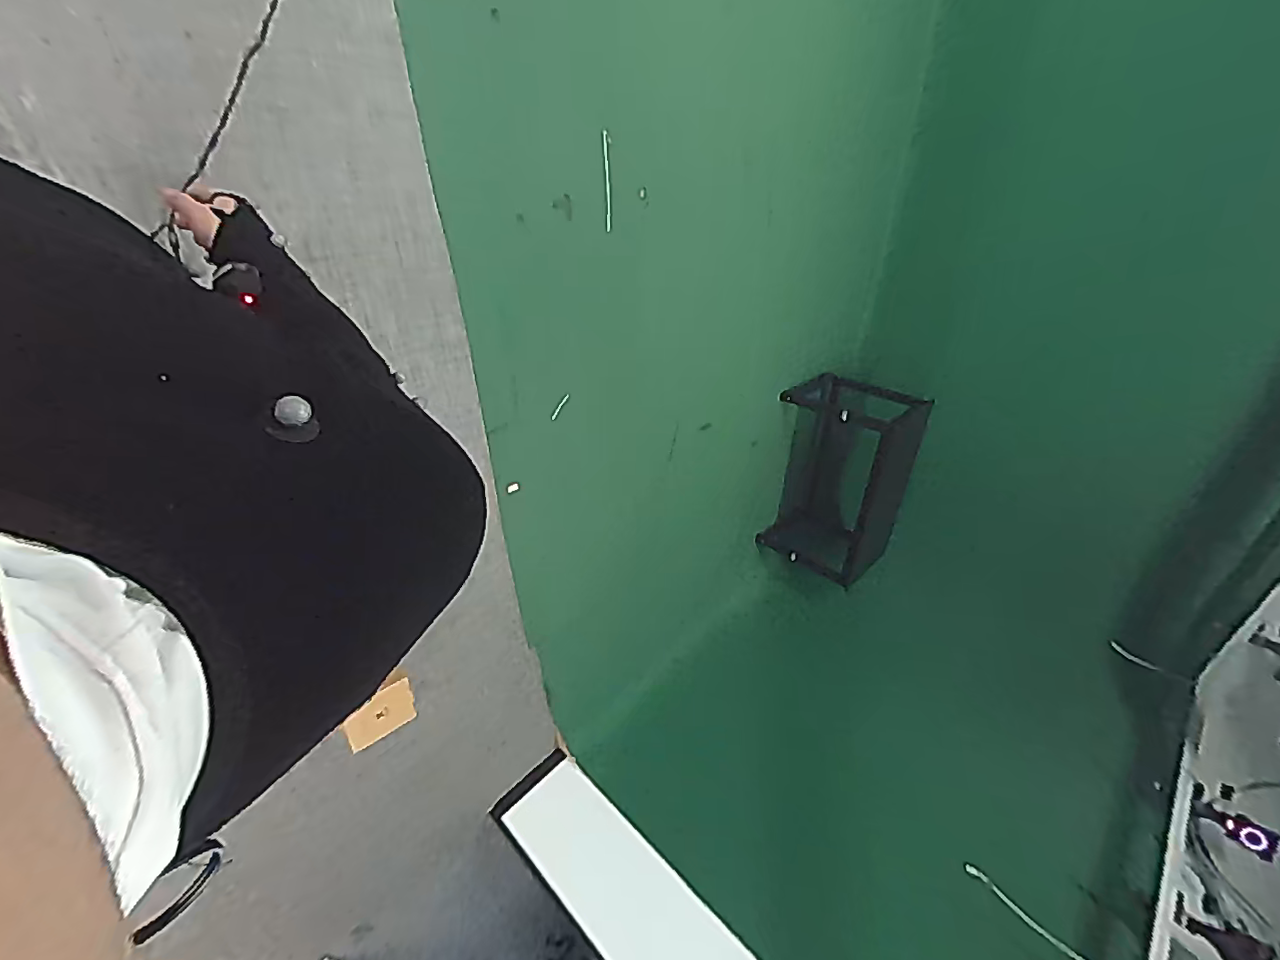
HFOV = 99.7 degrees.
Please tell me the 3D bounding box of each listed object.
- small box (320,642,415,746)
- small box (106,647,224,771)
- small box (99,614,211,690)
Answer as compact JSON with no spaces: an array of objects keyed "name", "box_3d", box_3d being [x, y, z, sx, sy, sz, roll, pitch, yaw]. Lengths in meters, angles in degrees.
[{"name":"small box","box_3d":[-0.758,0.587,1.508,0.179,0.176,0.168,-23,128,-39]},{"name":"small box","box_3d":[-1.145,0.541,1.301,0.179,0.176,0.168,-21,128,-42]},{"name":"small box","box_3d":[-1.261,0.485,1.404,0.179,0.176,0.168,-25,130,-39]}]
